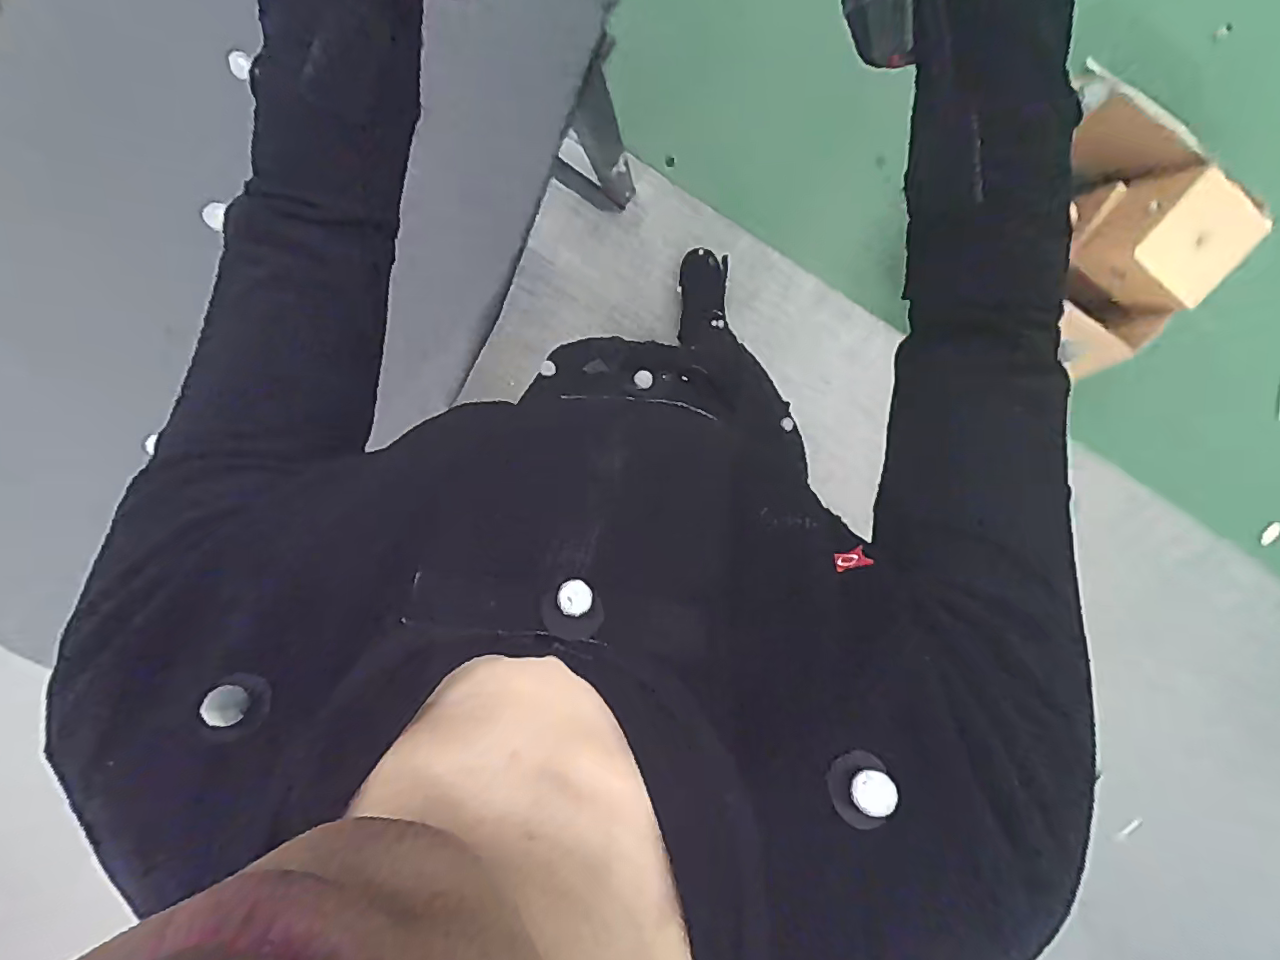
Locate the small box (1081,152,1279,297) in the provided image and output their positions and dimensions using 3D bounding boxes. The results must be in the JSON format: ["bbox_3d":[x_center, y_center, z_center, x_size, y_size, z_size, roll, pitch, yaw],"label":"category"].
[{"bbox_3d":[0.991,-0.466,1.018,0.168,0.176,0.179,33,106,-9],"label":"small box"}]
